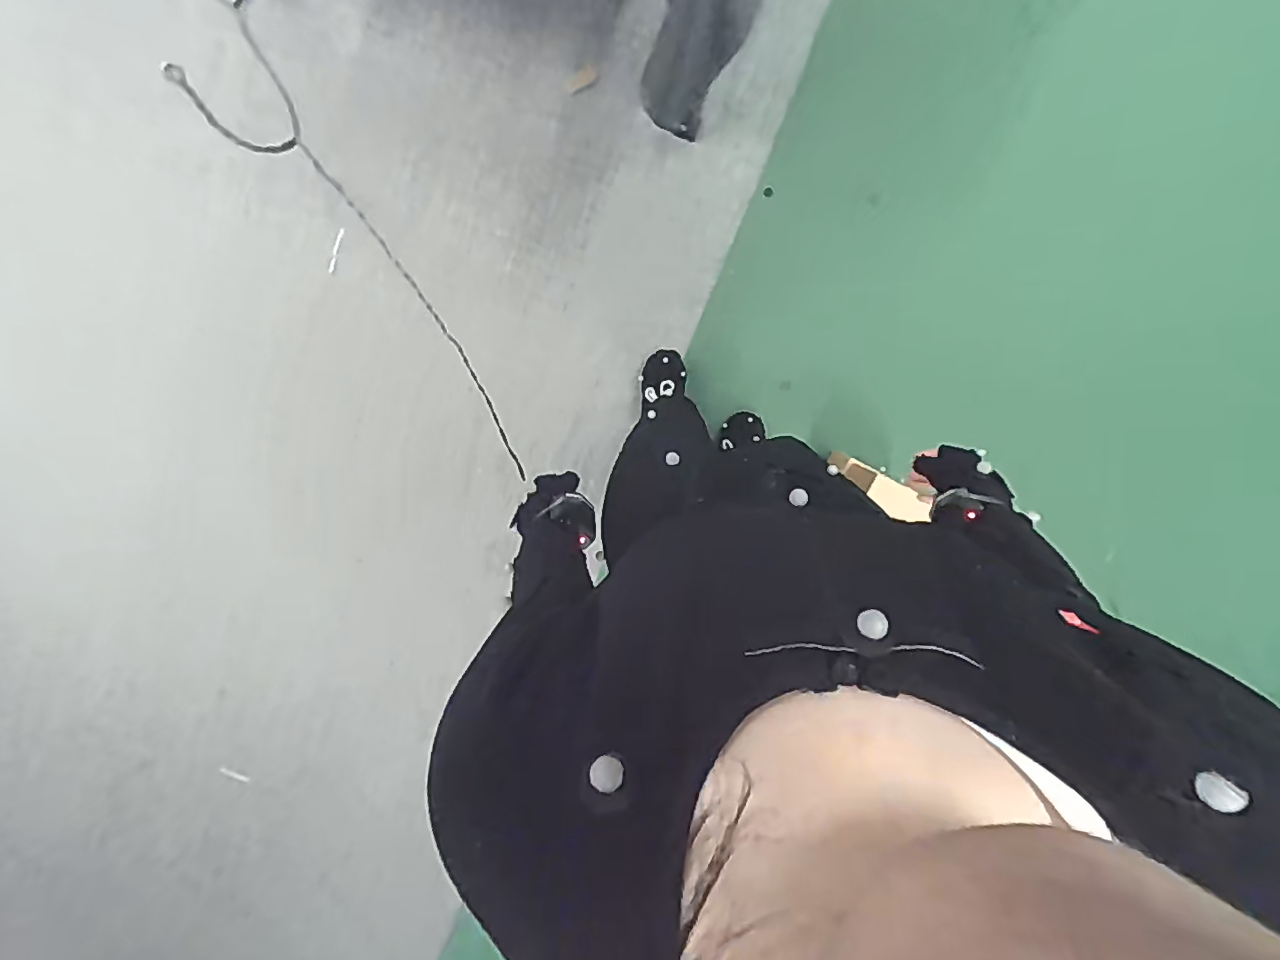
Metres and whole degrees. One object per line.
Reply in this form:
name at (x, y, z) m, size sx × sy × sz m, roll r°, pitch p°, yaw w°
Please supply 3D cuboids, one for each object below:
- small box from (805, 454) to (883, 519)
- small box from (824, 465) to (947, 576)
small box at (0.549, 0.043, 1.381) m, size 0.179 × 0.176 × 0.168 m, roll 28°, pitch 101°, yaw -1°
small box at (0.540, 0.082, 1.222) m, size 0.168 × 0.176 × 0.179 m, roll 27°, pitch 102°, yaw 0°
